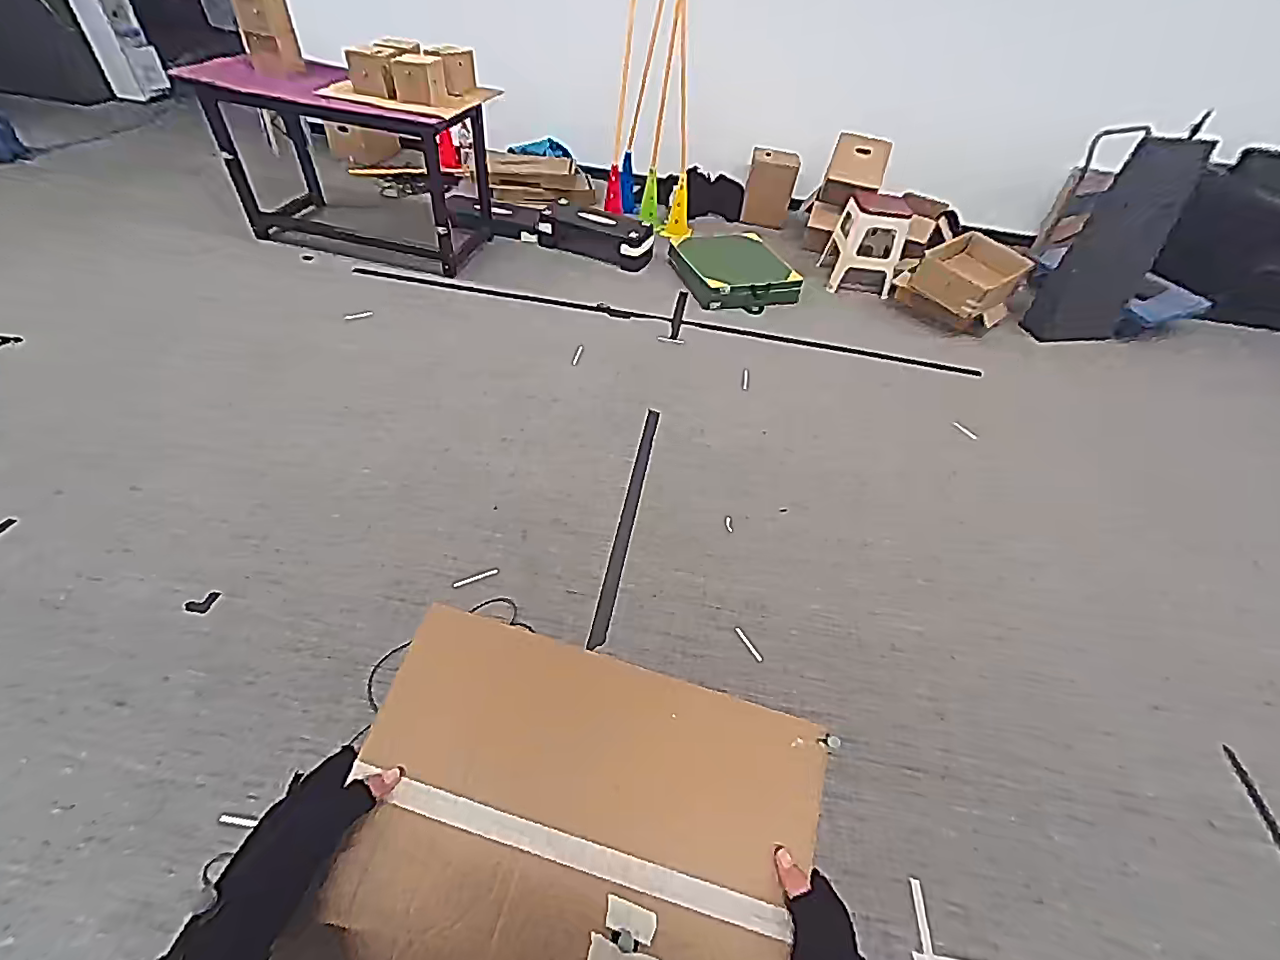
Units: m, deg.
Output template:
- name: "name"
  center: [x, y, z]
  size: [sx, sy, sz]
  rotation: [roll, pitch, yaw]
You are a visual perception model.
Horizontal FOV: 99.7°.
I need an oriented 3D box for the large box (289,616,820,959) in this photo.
- name: "large box"
  center: [-0.063, 0.382, 0.610]
  size: [0.408, 0.320, 0.320]
  rotation: [16, 66, 5]
